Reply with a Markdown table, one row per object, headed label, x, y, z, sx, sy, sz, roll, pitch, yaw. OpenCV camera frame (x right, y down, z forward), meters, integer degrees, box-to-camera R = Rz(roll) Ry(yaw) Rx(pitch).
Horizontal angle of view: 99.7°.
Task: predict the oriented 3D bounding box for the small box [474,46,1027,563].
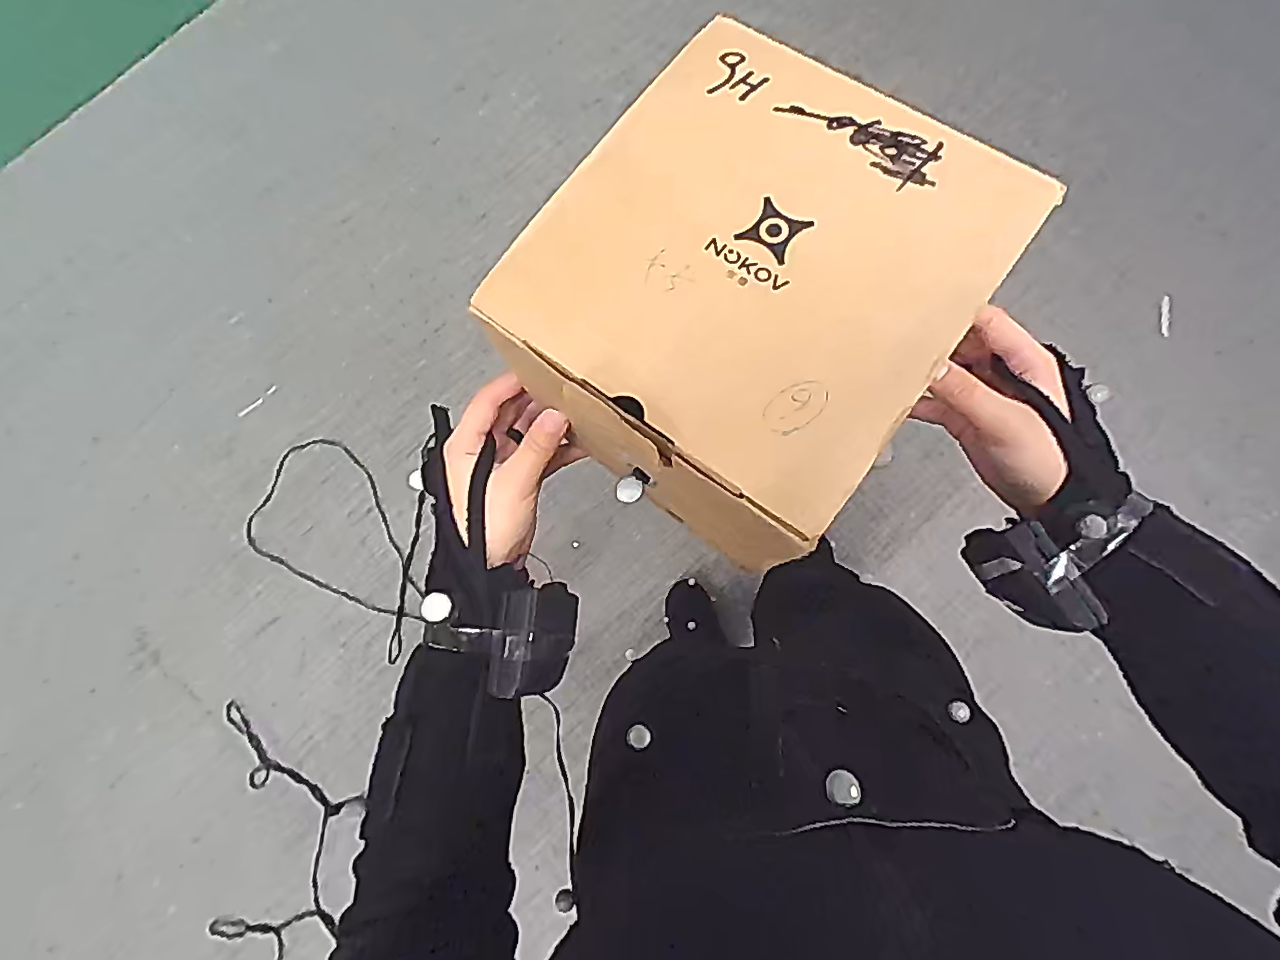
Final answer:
| label | x | y | z | sx | sy | sz | roll | pitch | yaw |
| --- | --- | --- | --- | --- | --- | --- | --- | --- | --- |
| small box | 0.050 | -0.069 | 0.301 | 0.168 | 0.176 | 0.179 | 36 | 83 | 11 |
